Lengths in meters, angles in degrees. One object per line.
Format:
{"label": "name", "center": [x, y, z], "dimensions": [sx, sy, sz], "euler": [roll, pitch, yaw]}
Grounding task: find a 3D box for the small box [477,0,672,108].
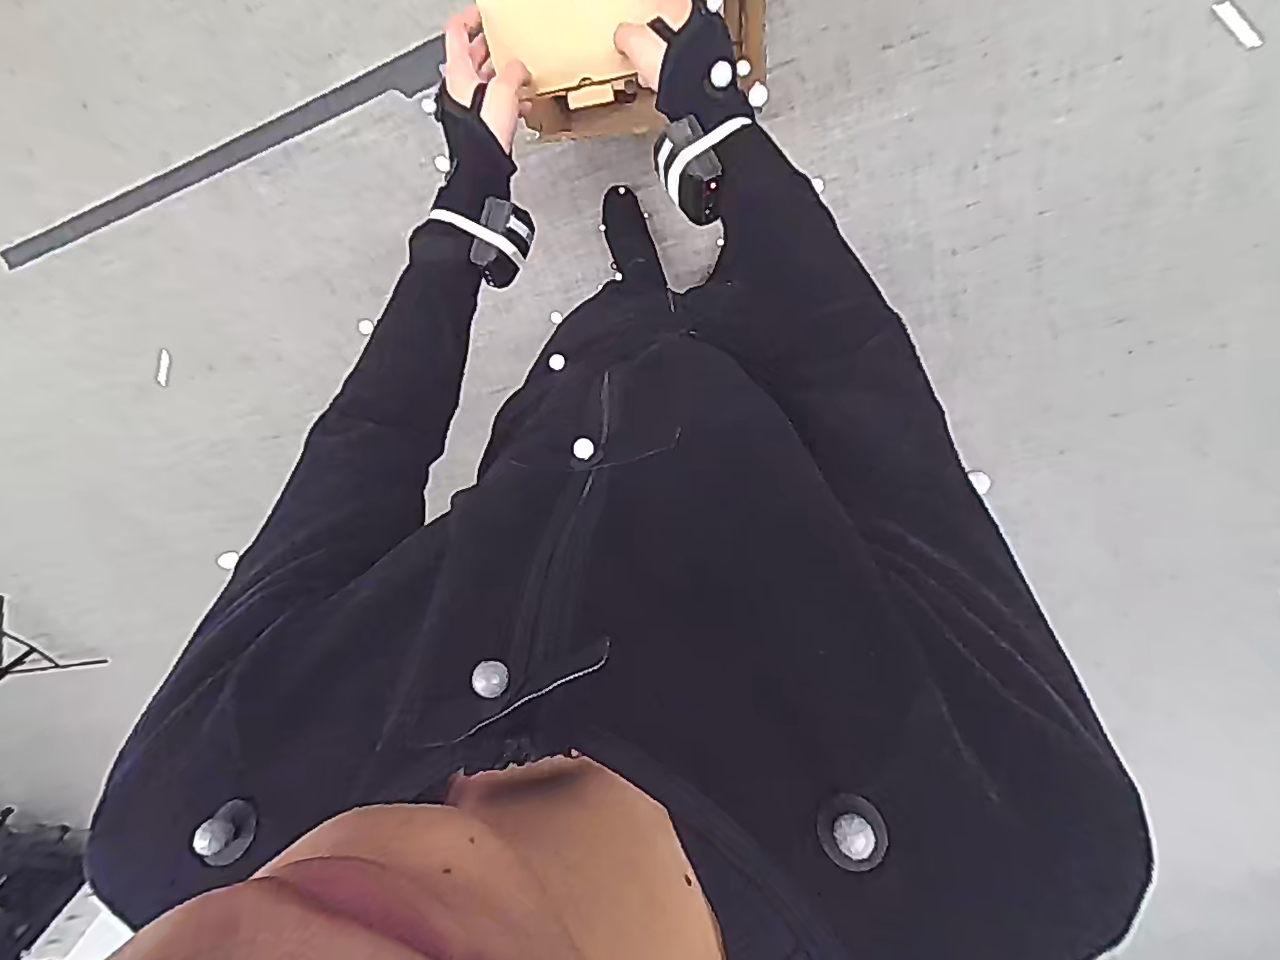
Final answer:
{"label": "small box", "center": [-0.059, -0.480, 0.514], "dimensions": [0.168, 0.176, 0.179], "euler": [-6, 129, 7]}
